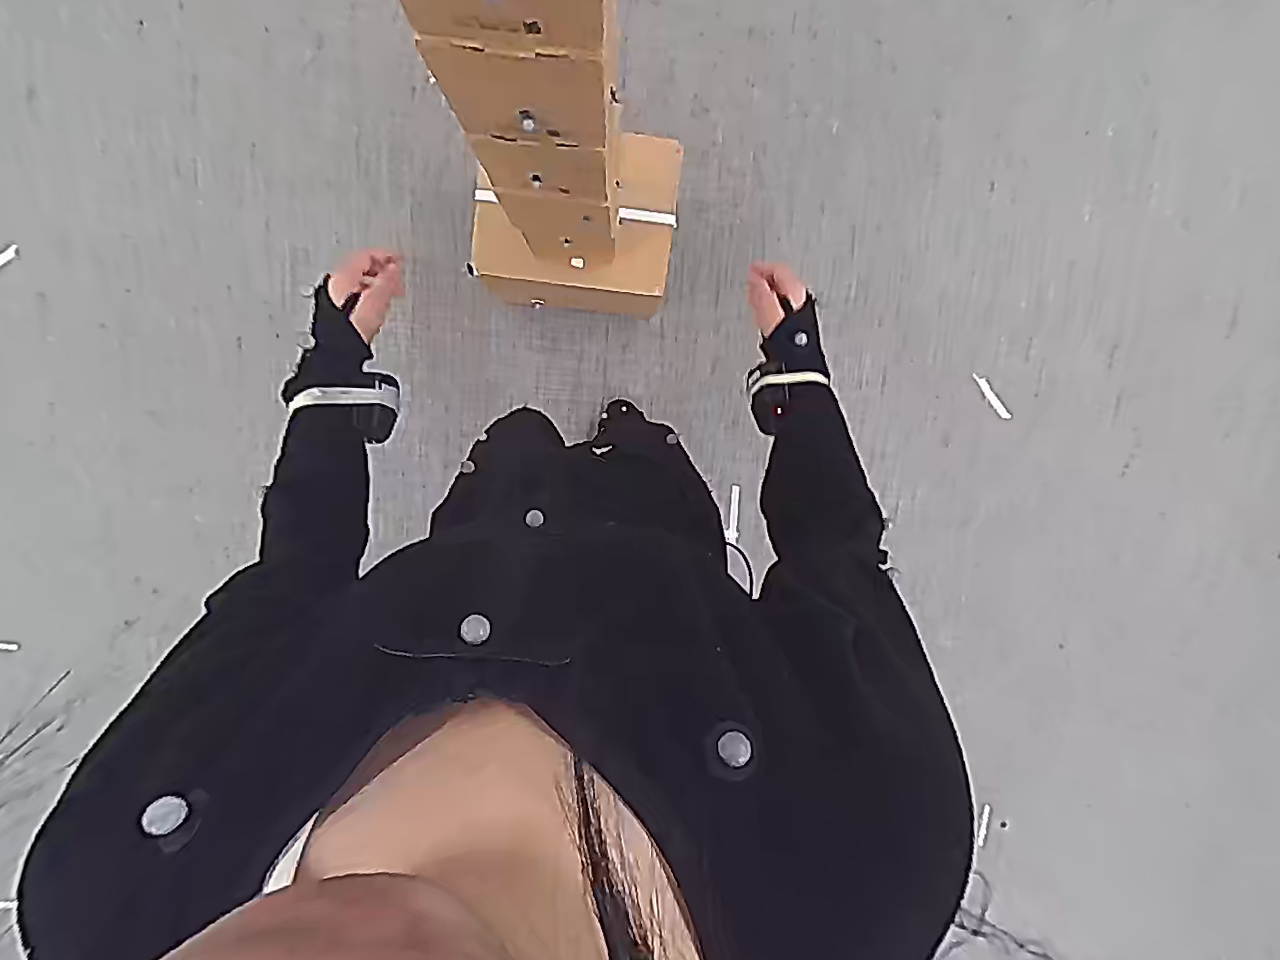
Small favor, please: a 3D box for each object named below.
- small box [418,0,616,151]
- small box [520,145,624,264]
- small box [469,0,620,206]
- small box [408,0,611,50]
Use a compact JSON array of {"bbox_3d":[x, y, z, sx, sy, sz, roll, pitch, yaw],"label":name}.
[{"bbox_3d":[-0.110,-0.466,0.541,0.168,0.176,0.179,3,99,-3],"label":"small box"},{"bbox_3d":[-0.124,-0.520,1.029,0.179,0.176,0.168,4,99,-4],"label":"small box"},{"bbox_3d":[-0.117,-0.486,0.704,0.168,0.176,0.179,4,99,-4],"label":"small box"},{"bbox_3d":[-0.101,-0.447,0.378,0.168,0.176,0.179,2,99,-3],"label":"small box"}]
